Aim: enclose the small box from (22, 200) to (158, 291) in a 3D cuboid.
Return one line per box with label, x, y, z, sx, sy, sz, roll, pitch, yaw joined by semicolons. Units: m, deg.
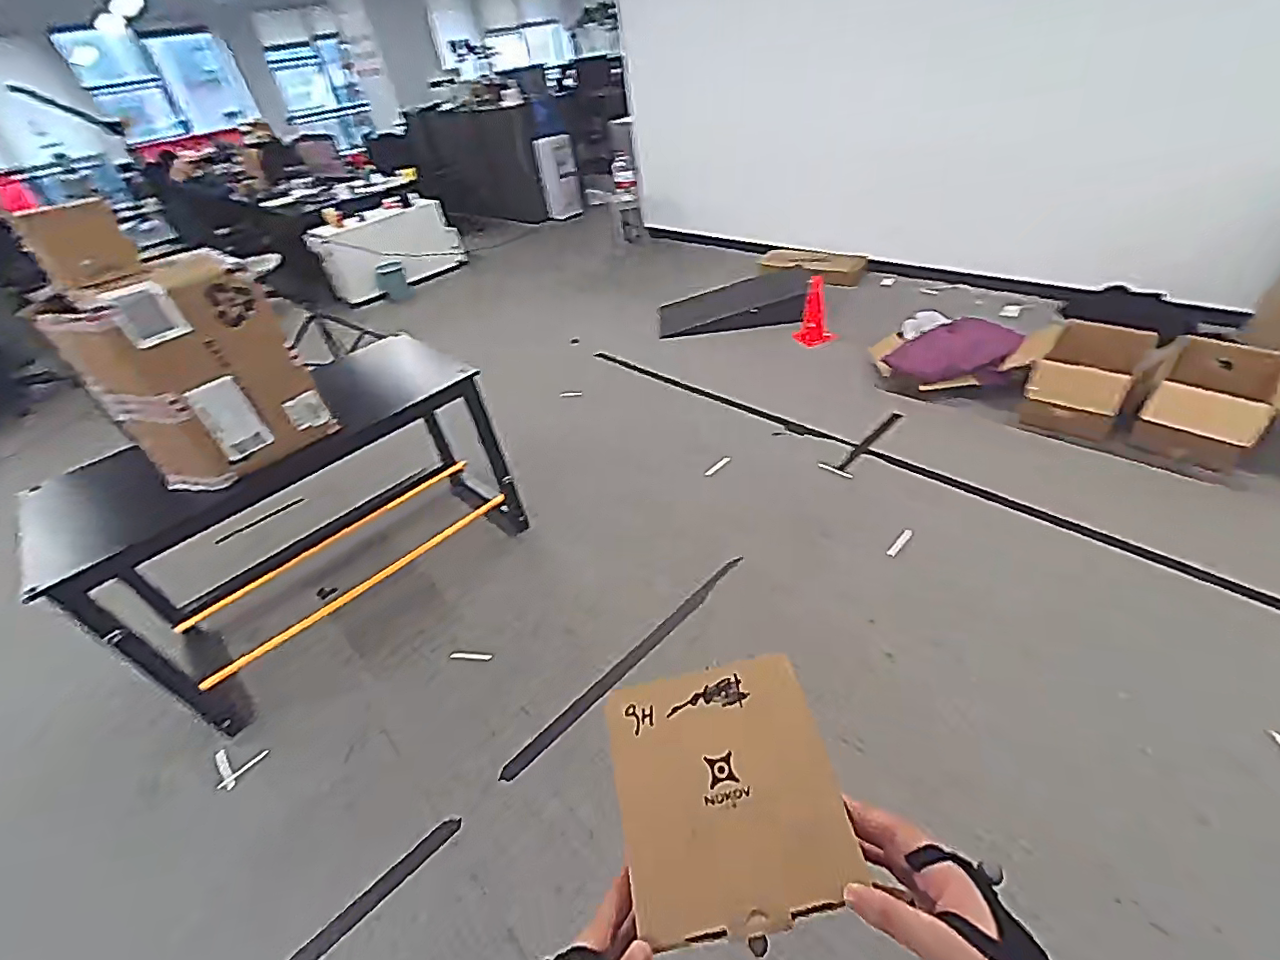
small box;-1.352;-0.580;1.336;0.179;0.176;0.168;21;47;35
